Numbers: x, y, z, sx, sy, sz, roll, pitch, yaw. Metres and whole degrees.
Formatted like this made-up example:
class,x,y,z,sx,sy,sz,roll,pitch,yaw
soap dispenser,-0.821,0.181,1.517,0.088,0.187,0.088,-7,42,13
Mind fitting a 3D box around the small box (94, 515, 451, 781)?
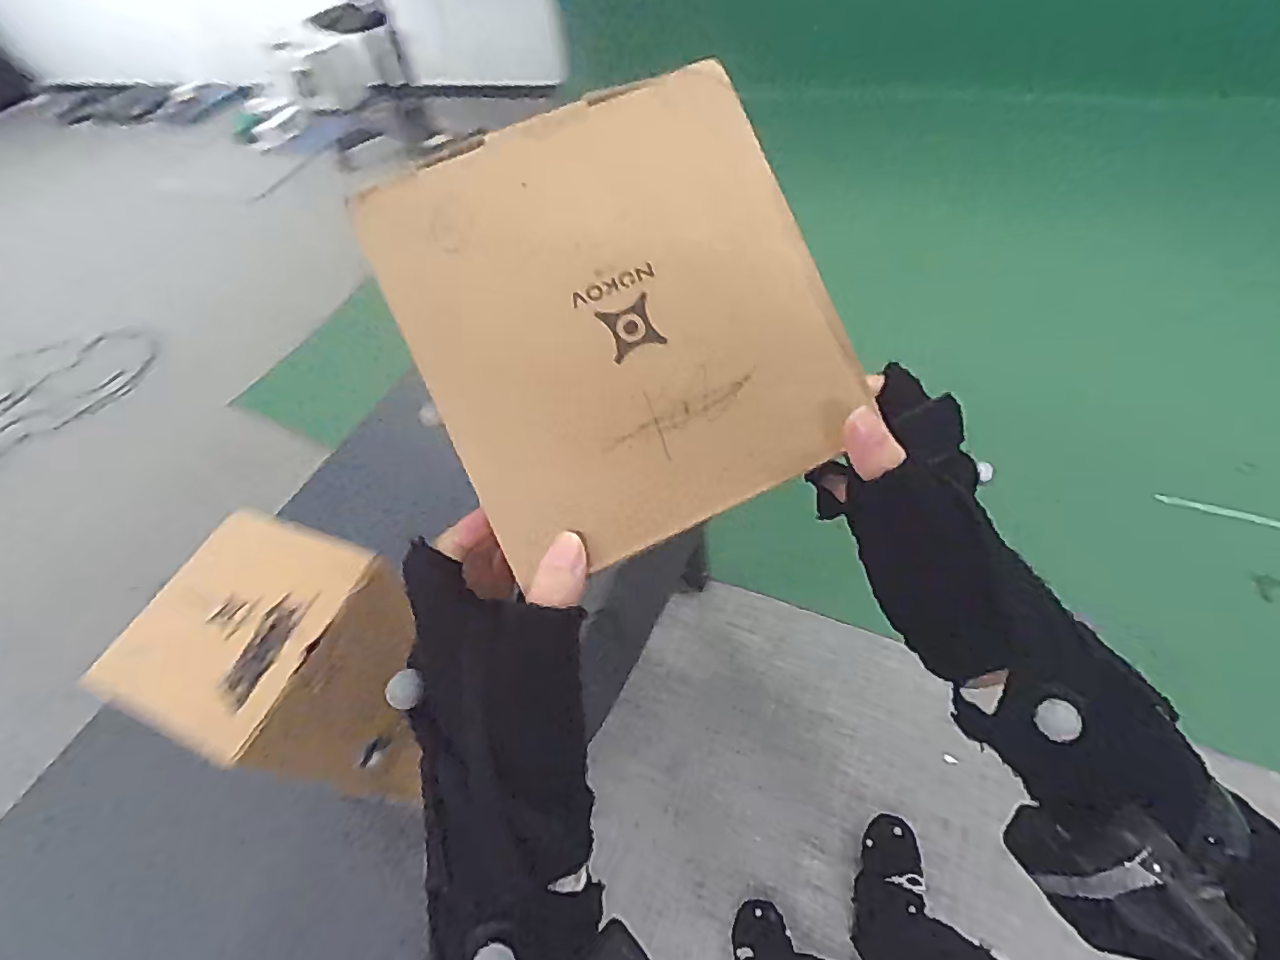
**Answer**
class,x,y,z,sx,sy,sz,roll,pitch,yaw
small box,-0.313,0.159,0.503,0.179,0.176,0.168,12,57,20
